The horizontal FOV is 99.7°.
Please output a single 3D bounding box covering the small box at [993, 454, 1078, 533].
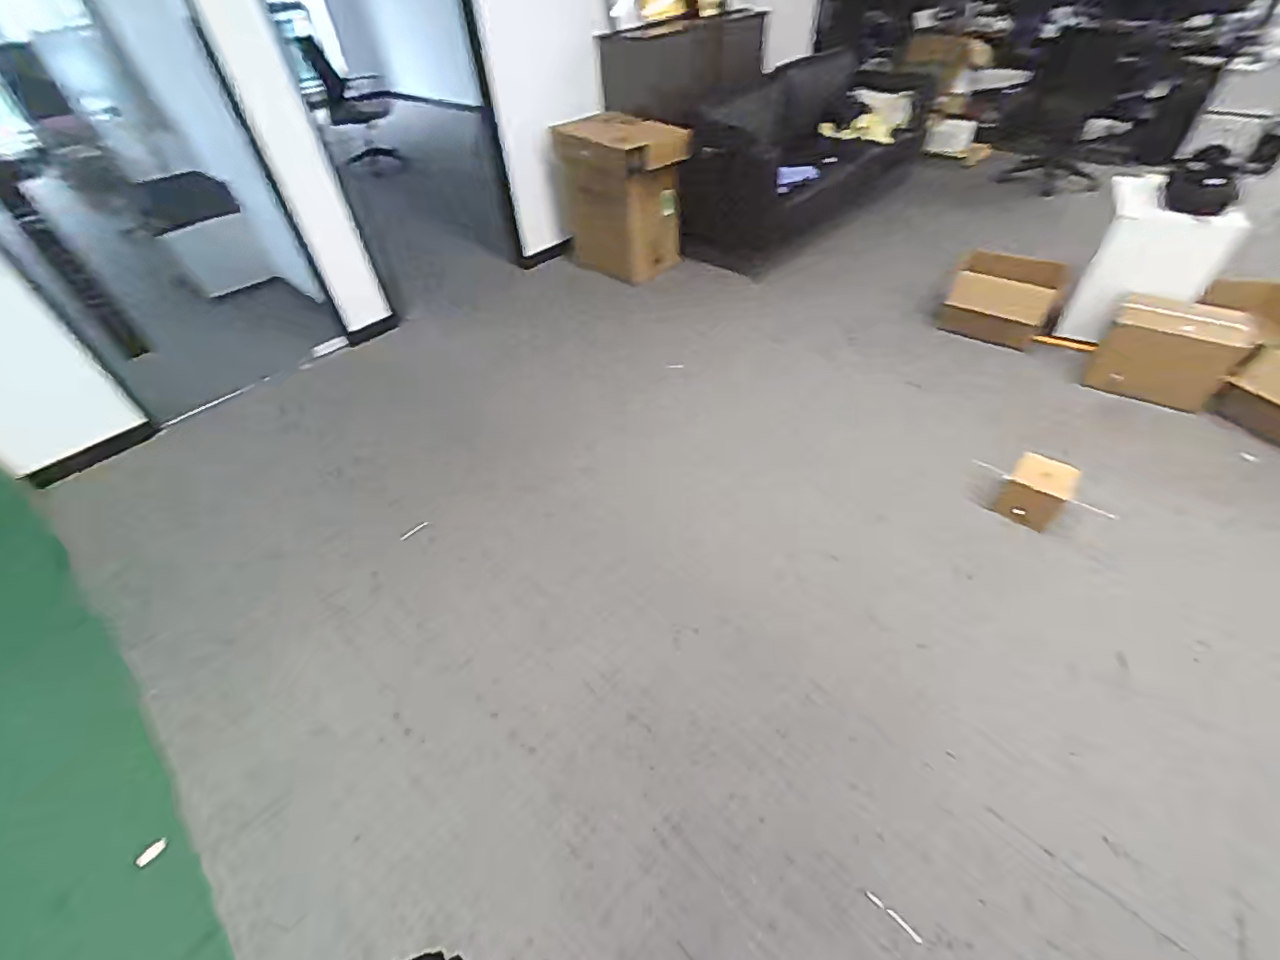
[{"bbox_3d":[1.343,0.047,1.845,0.168,0.176,0.179,30,55,30],"label":"small box"}]
